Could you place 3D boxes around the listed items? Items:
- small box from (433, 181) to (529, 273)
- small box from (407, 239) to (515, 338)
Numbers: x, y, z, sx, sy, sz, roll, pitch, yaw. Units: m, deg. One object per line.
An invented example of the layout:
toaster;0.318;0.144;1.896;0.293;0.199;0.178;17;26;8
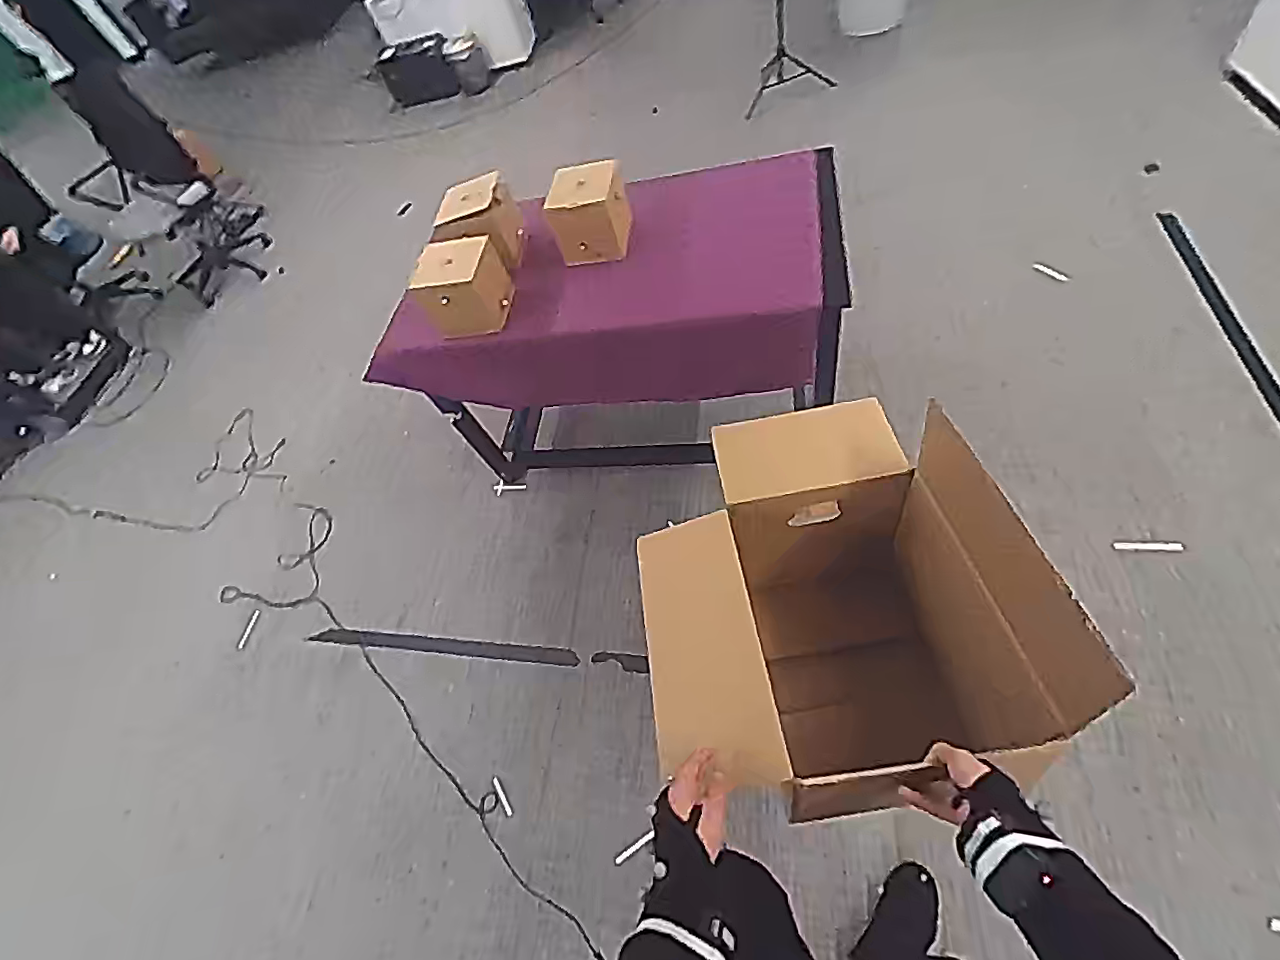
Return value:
small box;-0.431;-0.685;1.492;0.179;0.176;0.168;-3;59;13
small box;-0.444;-0.477;1.369;0.179;0.176;0.168;-2;59;14
